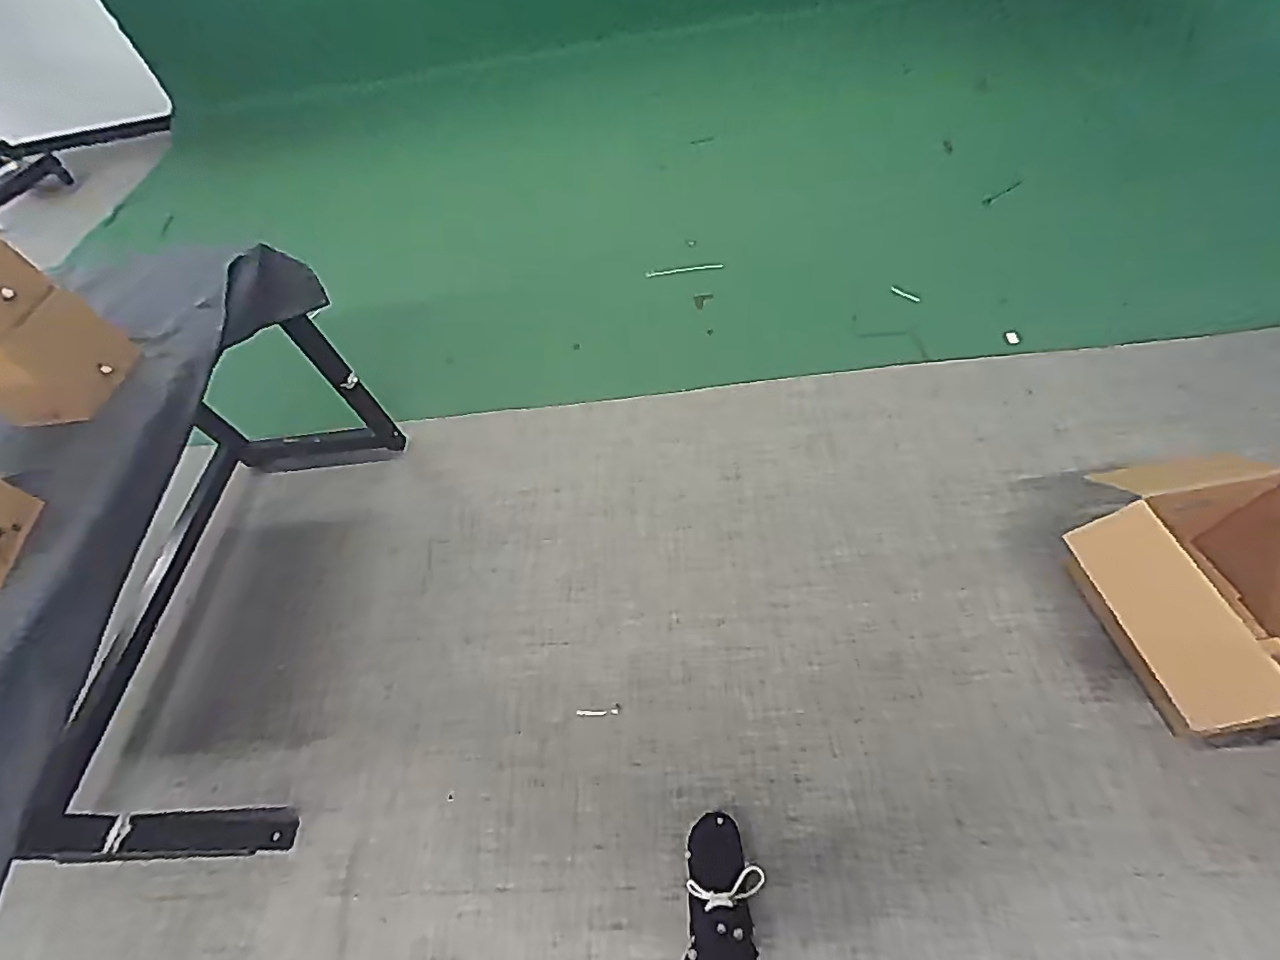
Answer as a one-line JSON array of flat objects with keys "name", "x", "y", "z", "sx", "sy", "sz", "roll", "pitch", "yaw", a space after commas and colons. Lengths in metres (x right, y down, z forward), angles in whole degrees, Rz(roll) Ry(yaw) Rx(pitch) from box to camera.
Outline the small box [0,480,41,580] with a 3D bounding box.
[{"name": "small box", "x": -1.046, "y": 0.074, "z": 0.766, "sx": 0.179, "sy": 0.176, "sz": 0.168, "roll": -13, "pitch": 55, "yaw": 0}]

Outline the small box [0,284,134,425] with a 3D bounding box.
[{"name": "small box", "x": -1.084, "y": -0.222, "z": 0.974, "sx": 0.168, "sy": 0.176, "sz": 0.179, "roll": -5, "pitch": 55, "yaw": 6}]

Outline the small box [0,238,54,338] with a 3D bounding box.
[{"name": "small box", "x": -1.110, "y": -0.314, "z": 0.835, "sx": 0.168, "sy": 0.176, "sz": 0.179, "roll": -4, "pitch": 56, "yaw": 7}]
